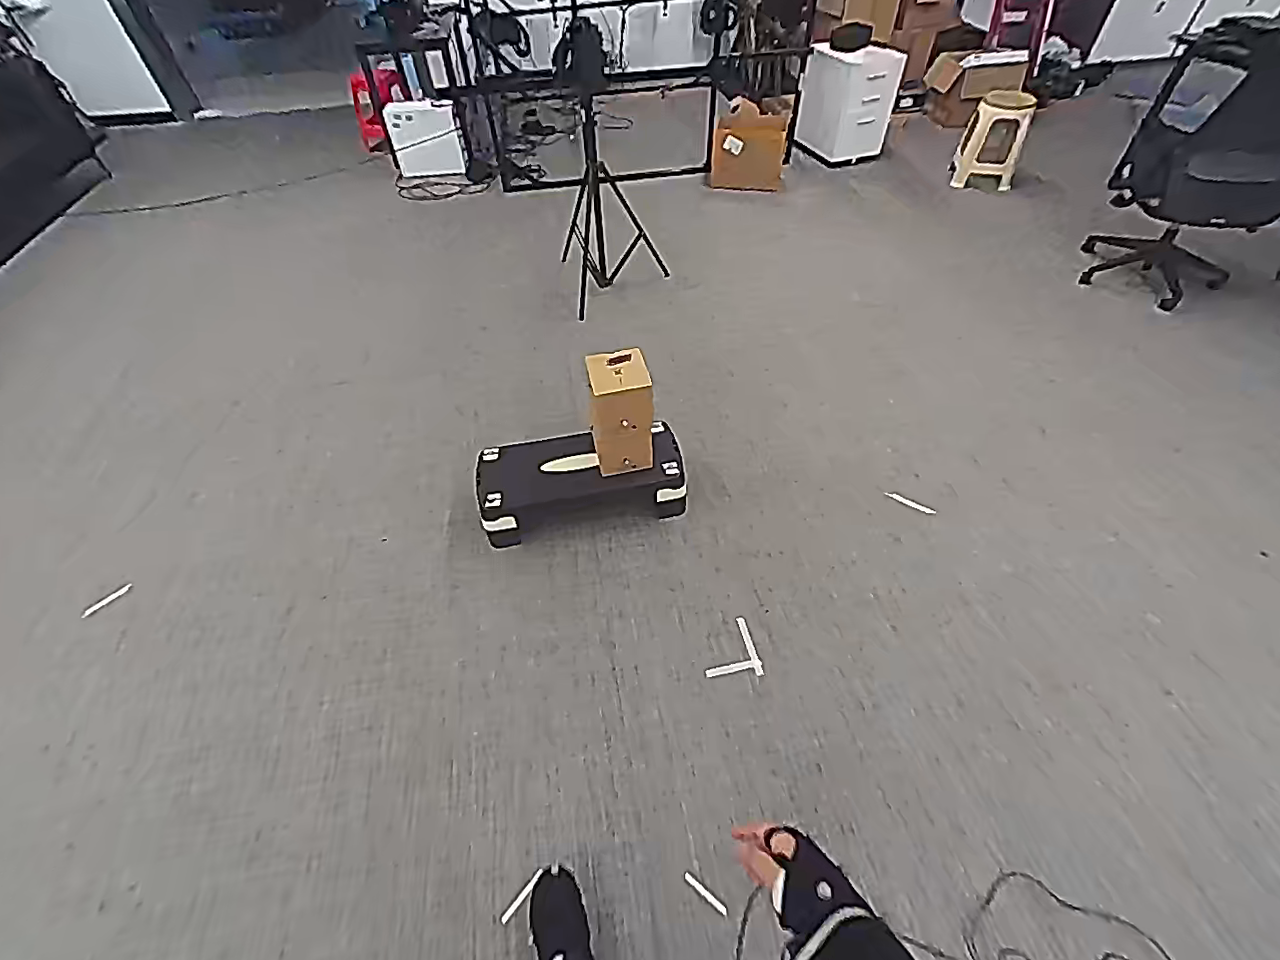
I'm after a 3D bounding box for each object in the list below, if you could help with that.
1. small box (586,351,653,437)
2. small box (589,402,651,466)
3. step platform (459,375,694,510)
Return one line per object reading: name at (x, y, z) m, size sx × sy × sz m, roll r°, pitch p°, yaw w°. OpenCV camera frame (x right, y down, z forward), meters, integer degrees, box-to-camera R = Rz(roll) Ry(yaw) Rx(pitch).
small box at (-0.060, -0.254, 1.597) m, size 0.168 × 0.176 × 0.179 m, roll -11°, pitch 51°, yaw -6°
small box at (-0.062, -0.143, 1.718) m, size 0.168 × 0.176 × 0.179 m, roll -11°, pitch 50°, yaw -6°
step platform at (-0.184, -0.115, 1.654) m, size 0.684 × 0.204 × 0.286 m, roll -10°, pitch 49°, yaw -7°
